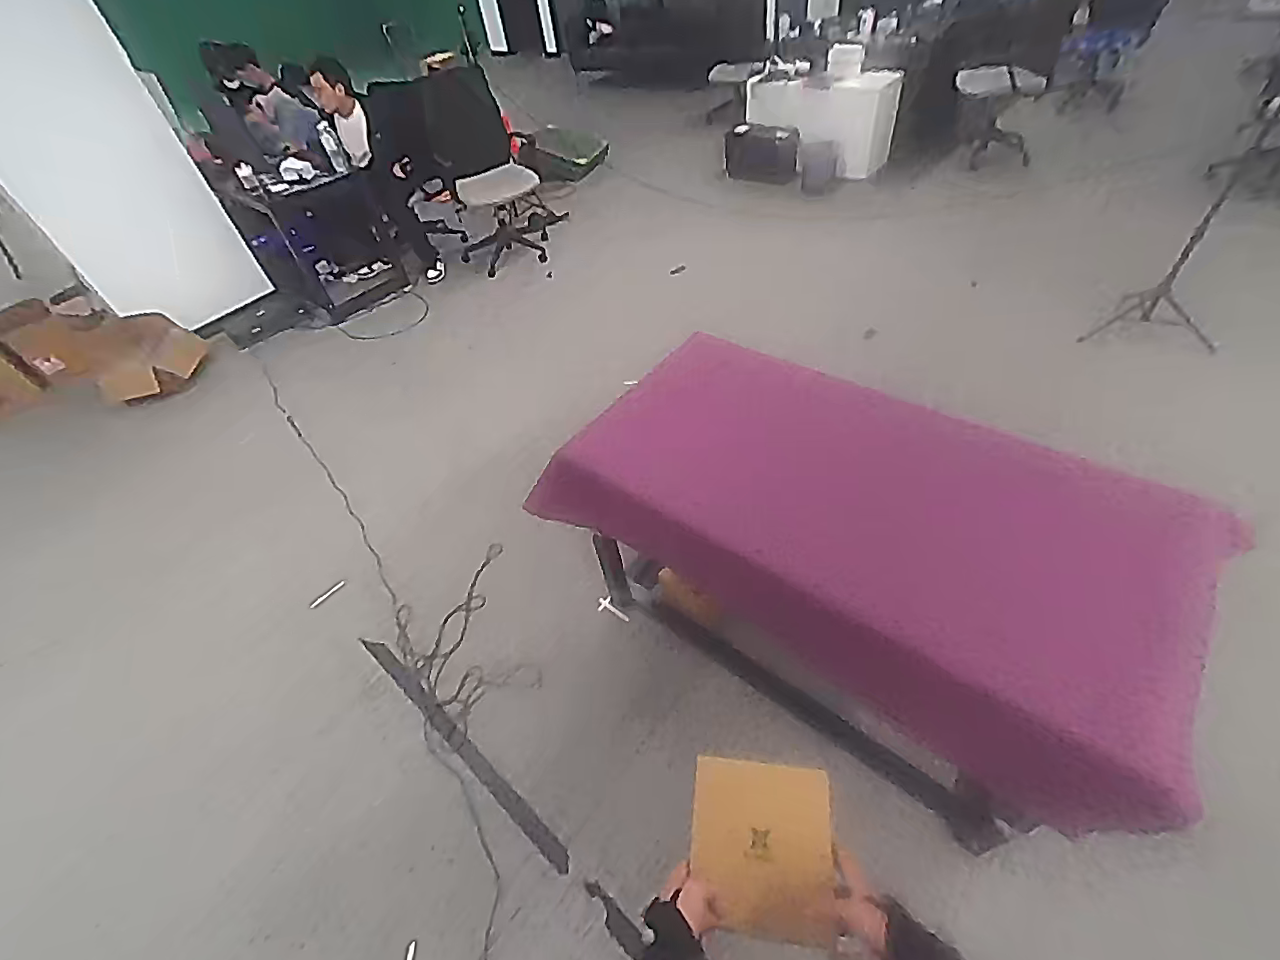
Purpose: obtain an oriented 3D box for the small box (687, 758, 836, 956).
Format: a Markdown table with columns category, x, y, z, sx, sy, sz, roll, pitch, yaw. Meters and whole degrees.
| category | x | y | z | sx | sy | sz | roll | pitch | yaw |
| --- | --- | --- | --- | --- | --- | --- | --- | --- | --- |
| small box | 0.161 | 0.482 | 0.709 | 0.168 | 0.176 | 0.179 | 0 | 58 | 15 |
